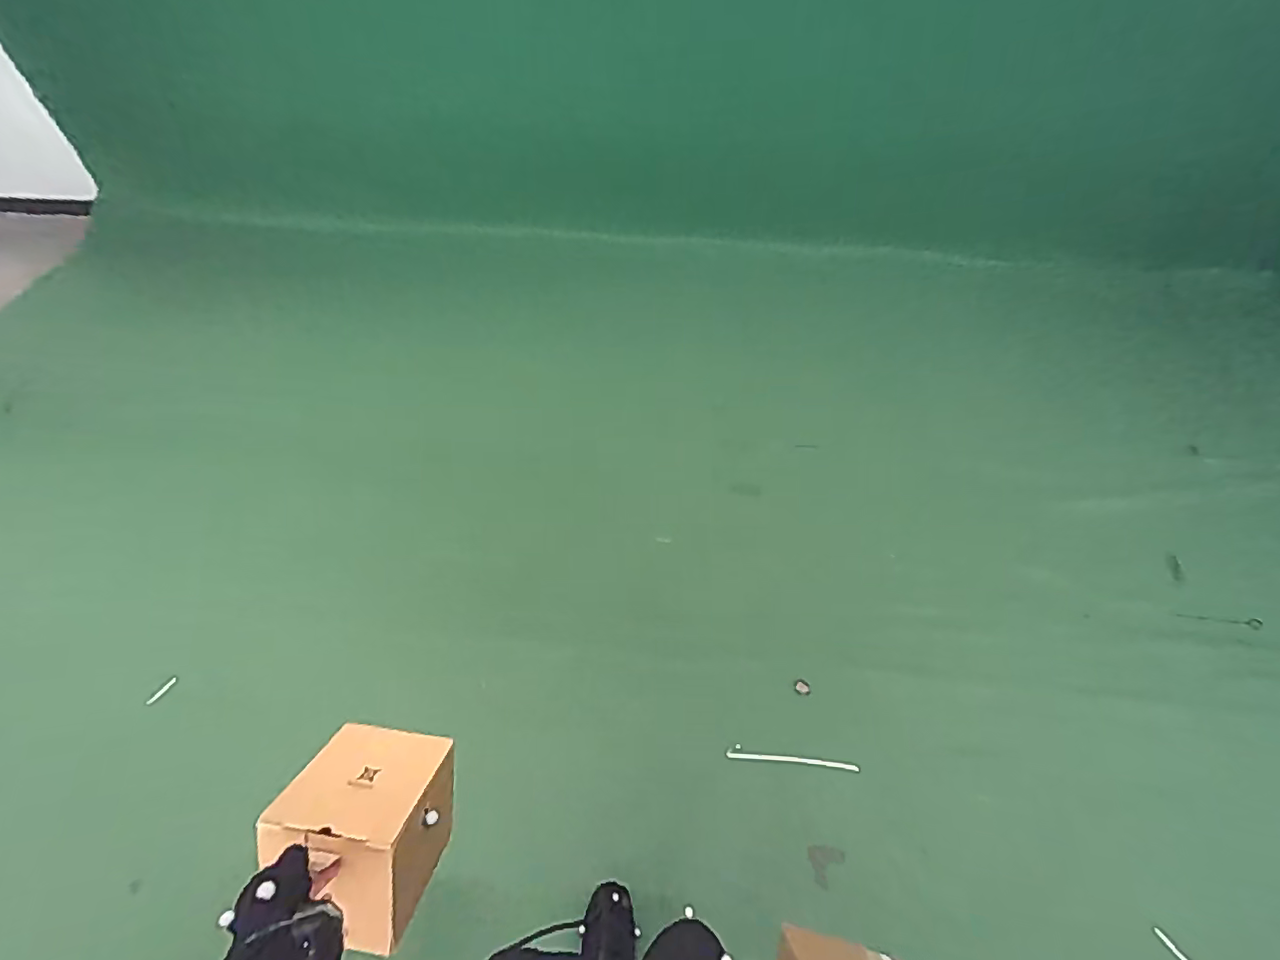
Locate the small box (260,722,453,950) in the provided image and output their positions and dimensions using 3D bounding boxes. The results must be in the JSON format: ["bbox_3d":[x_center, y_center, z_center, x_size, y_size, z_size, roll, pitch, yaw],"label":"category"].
[{"bbox_3d":[-0.370,0.466,0.727,0.168,0.176,0.179,9,16,3],"label":"small box"}]
